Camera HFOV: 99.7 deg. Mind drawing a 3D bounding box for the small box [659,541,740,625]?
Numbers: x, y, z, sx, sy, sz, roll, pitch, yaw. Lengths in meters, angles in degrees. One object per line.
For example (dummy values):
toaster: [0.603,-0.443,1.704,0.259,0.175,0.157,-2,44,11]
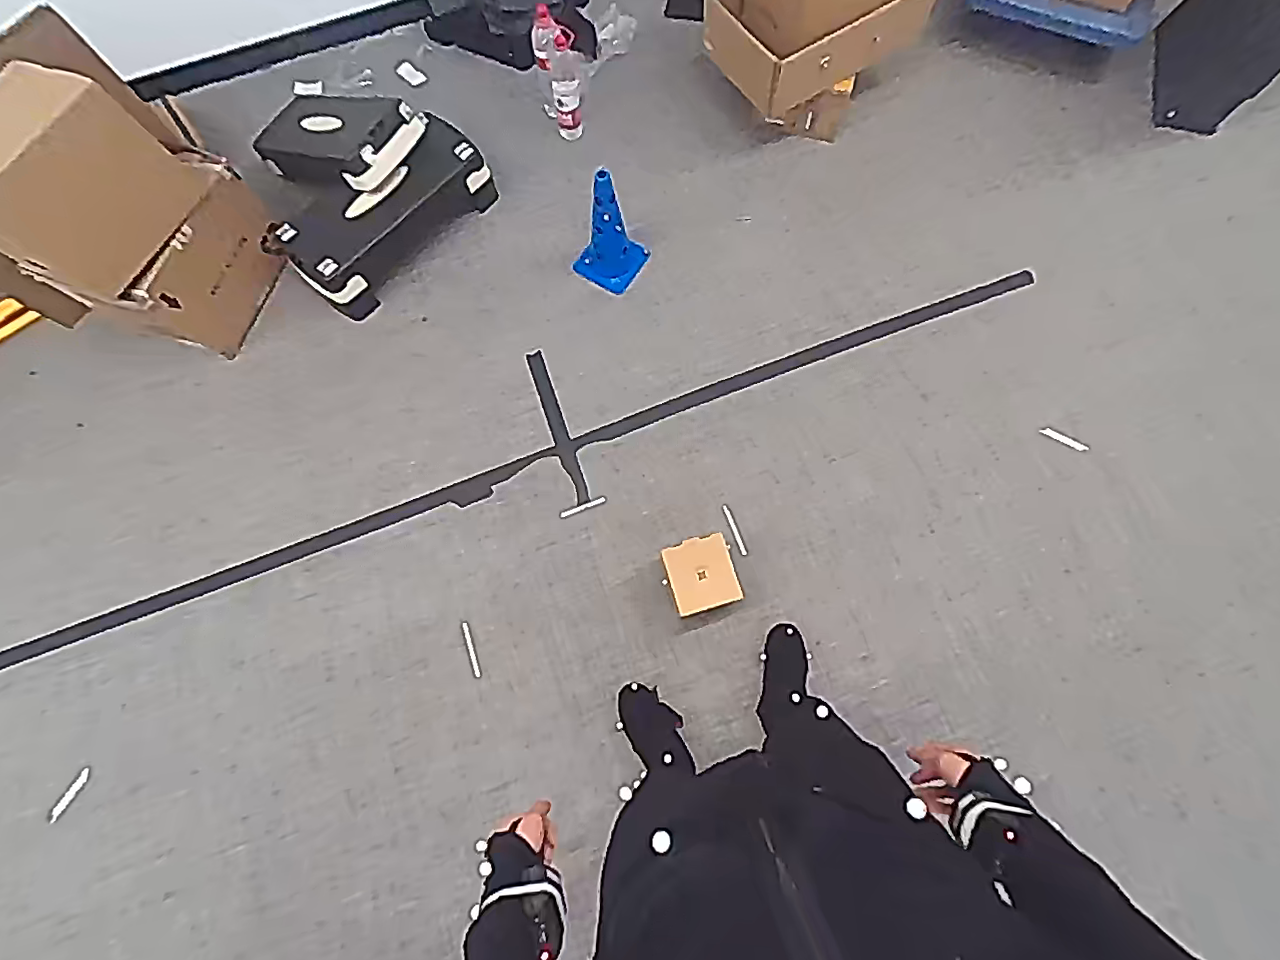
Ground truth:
small box: [0.152,0.276,1.430,0.168,0.176,0.179,-16,73,-3]
